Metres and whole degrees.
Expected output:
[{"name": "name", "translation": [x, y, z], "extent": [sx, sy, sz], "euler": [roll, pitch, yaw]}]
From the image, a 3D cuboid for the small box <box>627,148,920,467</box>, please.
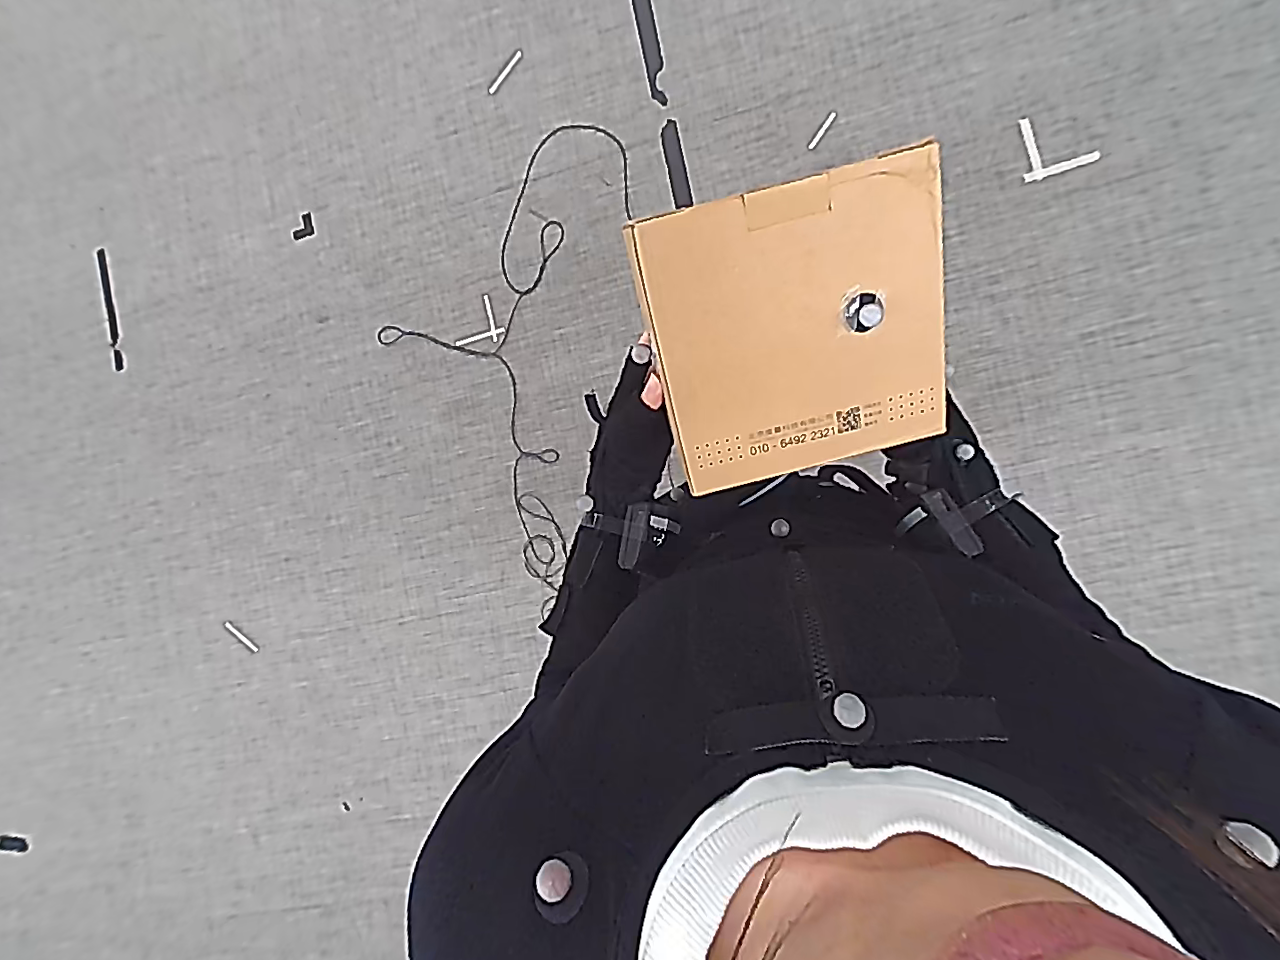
[{"name": "small box", "translation": [0.091, -0.122, 0.407], "extent": [0.168, 0.179, 0.176], "euler": [-14, 114, 3]}]
